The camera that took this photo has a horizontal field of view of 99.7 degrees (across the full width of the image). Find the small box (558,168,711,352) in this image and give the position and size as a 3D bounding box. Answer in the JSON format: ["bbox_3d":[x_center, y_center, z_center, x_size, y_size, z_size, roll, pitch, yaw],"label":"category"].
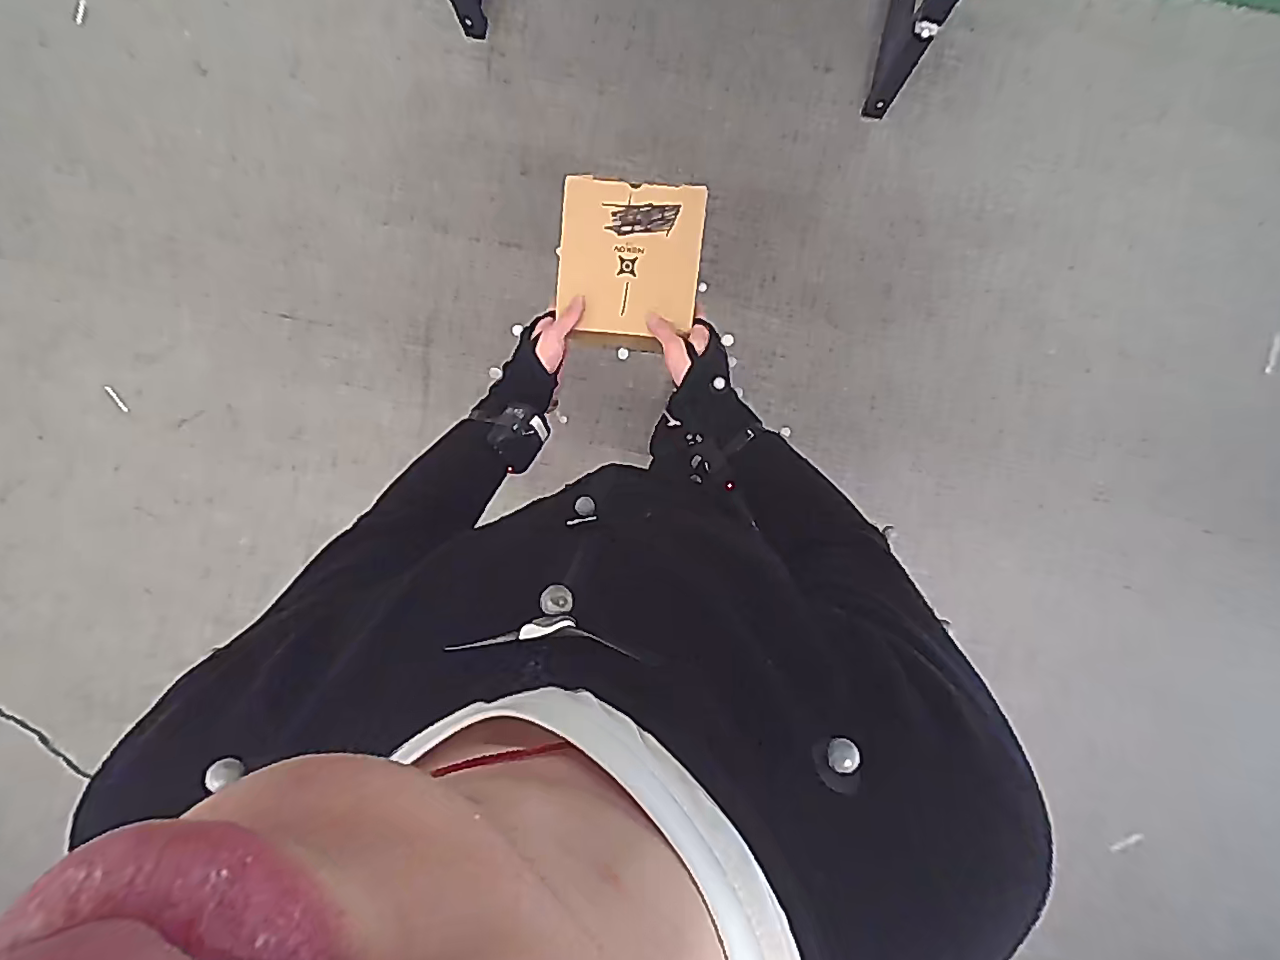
[{"bbox_3d":[-0.006,-0.274,0.709,0.168,0.176,0.179,6,97,2],"label":"small box"}]
